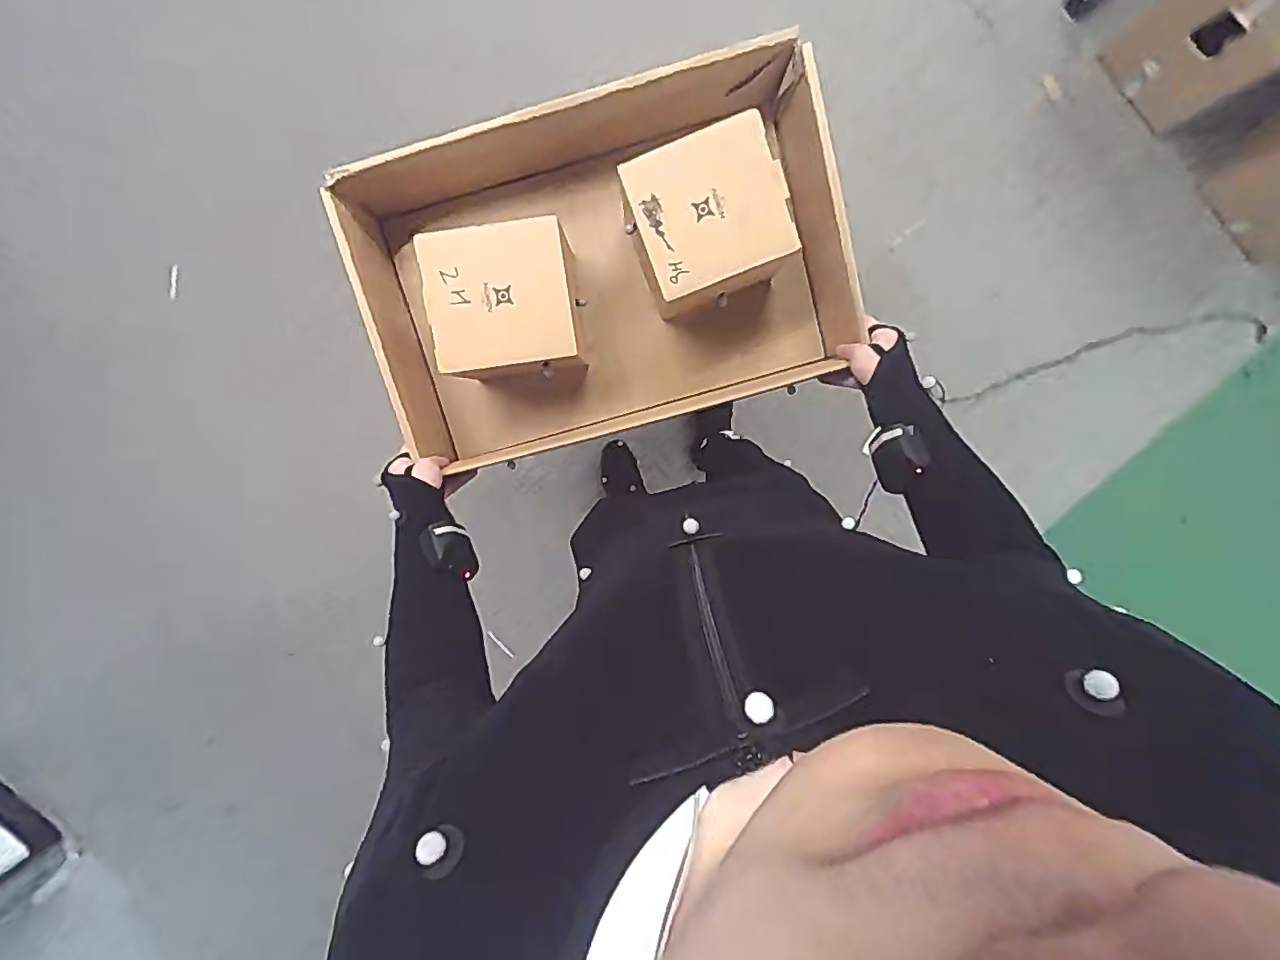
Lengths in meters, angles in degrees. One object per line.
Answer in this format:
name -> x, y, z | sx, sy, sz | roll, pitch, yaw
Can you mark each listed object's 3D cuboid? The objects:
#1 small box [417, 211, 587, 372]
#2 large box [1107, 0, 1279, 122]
small box -> -0.167, -0.237, 0.717 | 0.179, 0.176, 0.168 | -6, 98, 1
large box -> 1.570, -1.259, 1.399 | 0.408, 0.320, 0.320 | -43, 96, 2
